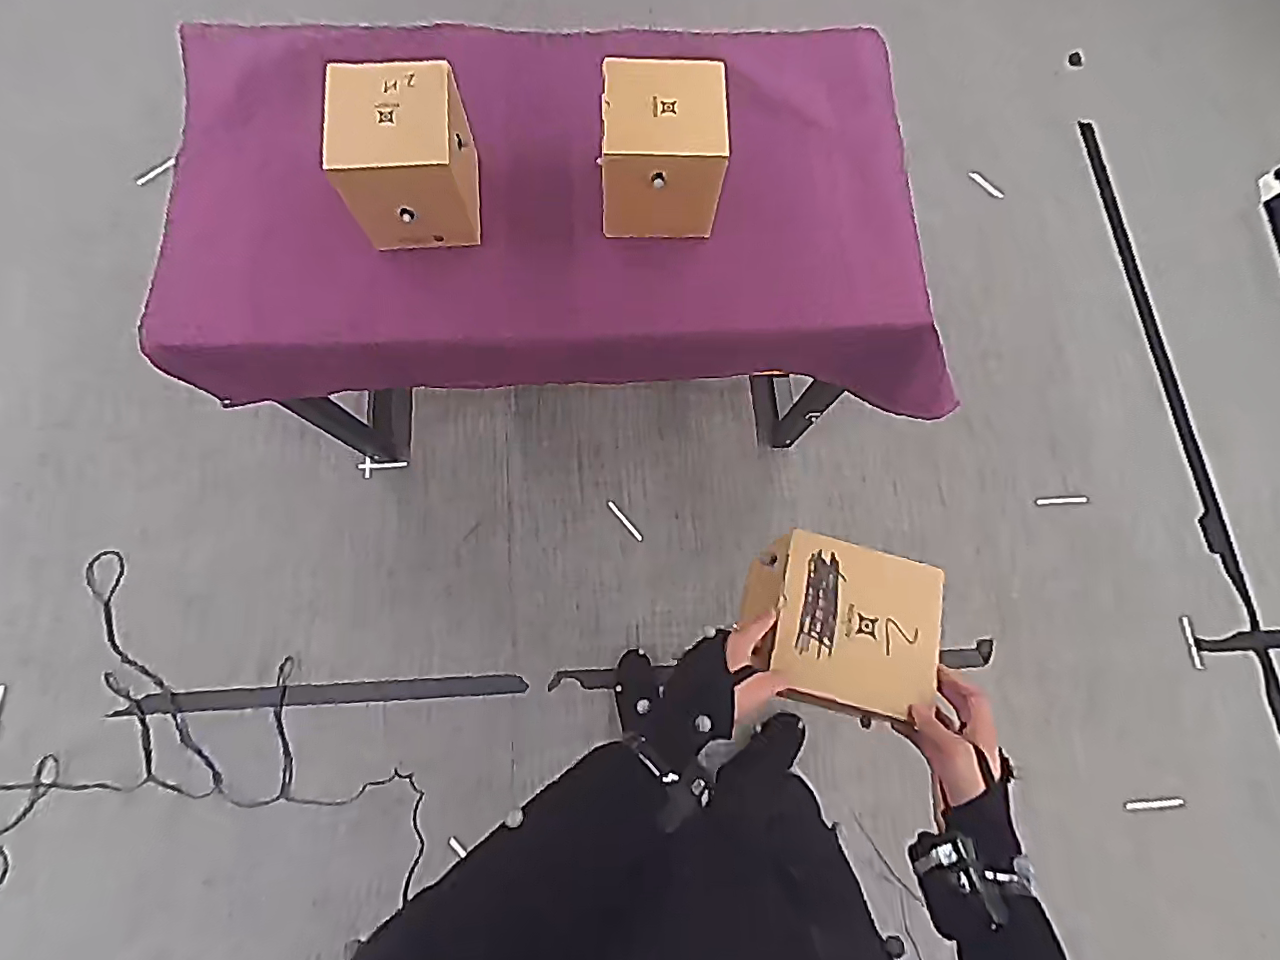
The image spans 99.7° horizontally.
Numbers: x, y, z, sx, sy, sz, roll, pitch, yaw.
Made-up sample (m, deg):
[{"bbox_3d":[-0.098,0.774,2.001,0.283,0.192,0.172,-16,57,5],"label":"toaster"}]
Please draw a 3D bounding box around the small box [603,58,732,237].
[{"bbox_3d":[0.035,-0.492,0.820,0.179,0.176,0.168,0,77,-1],"label":"small box"}]

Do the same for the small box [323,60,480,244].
[{"bbox_3d":[-0.339,-0.470,0.800,0.168,0.176,0.179,-4,76,-3],"label":"small box"}]
